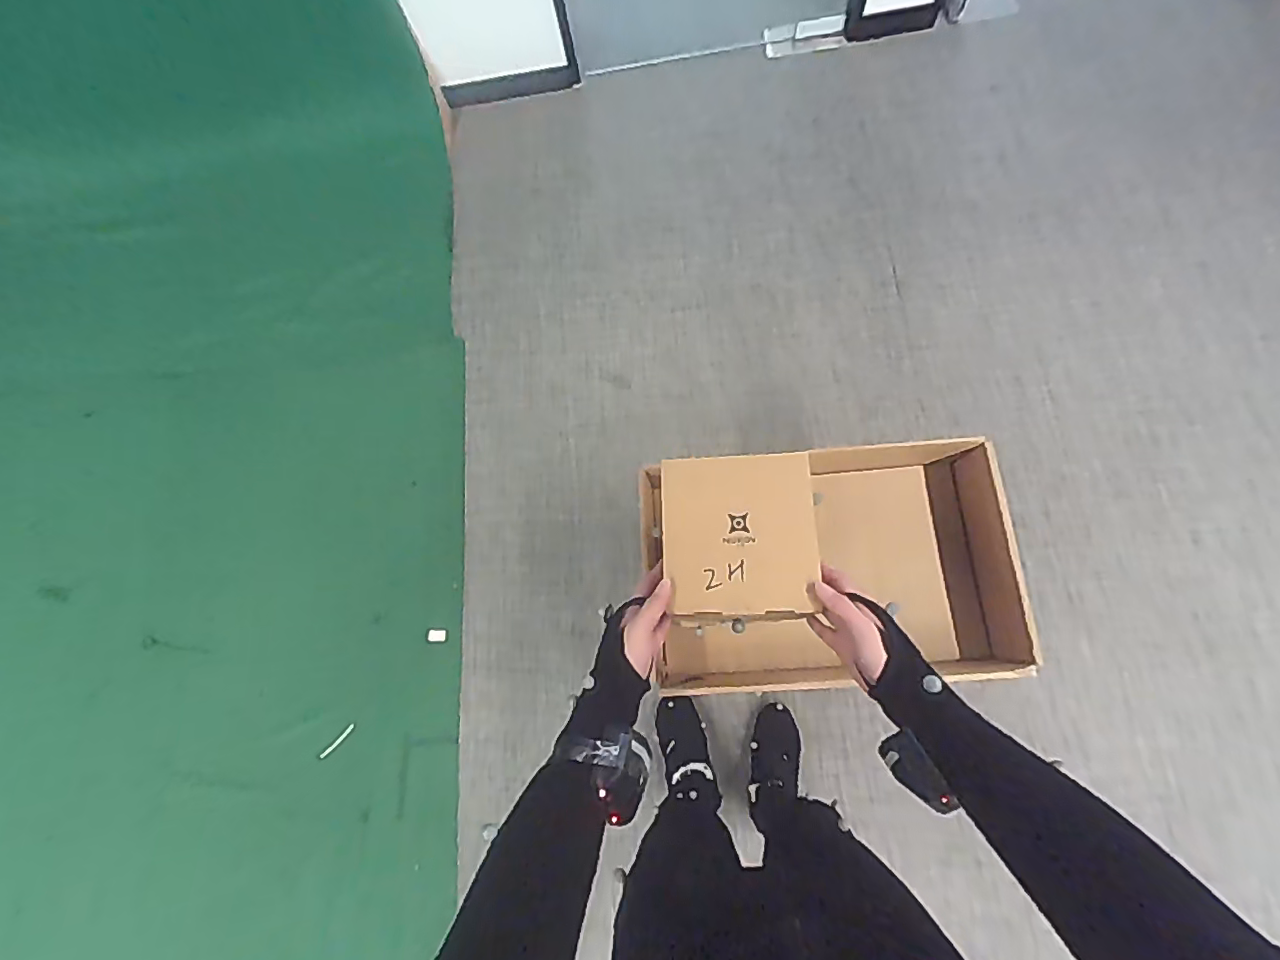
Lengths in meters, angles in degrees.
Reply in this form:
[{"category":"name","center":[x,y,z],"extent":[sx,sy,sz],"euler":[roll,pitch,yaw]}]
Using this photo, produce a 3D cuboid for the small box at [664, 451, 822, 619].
[{"category":"small box","center":[0.116,0.076,0.663],"extent":[0.168,0.176,0.179],"euler":[-2,73,7]}]
